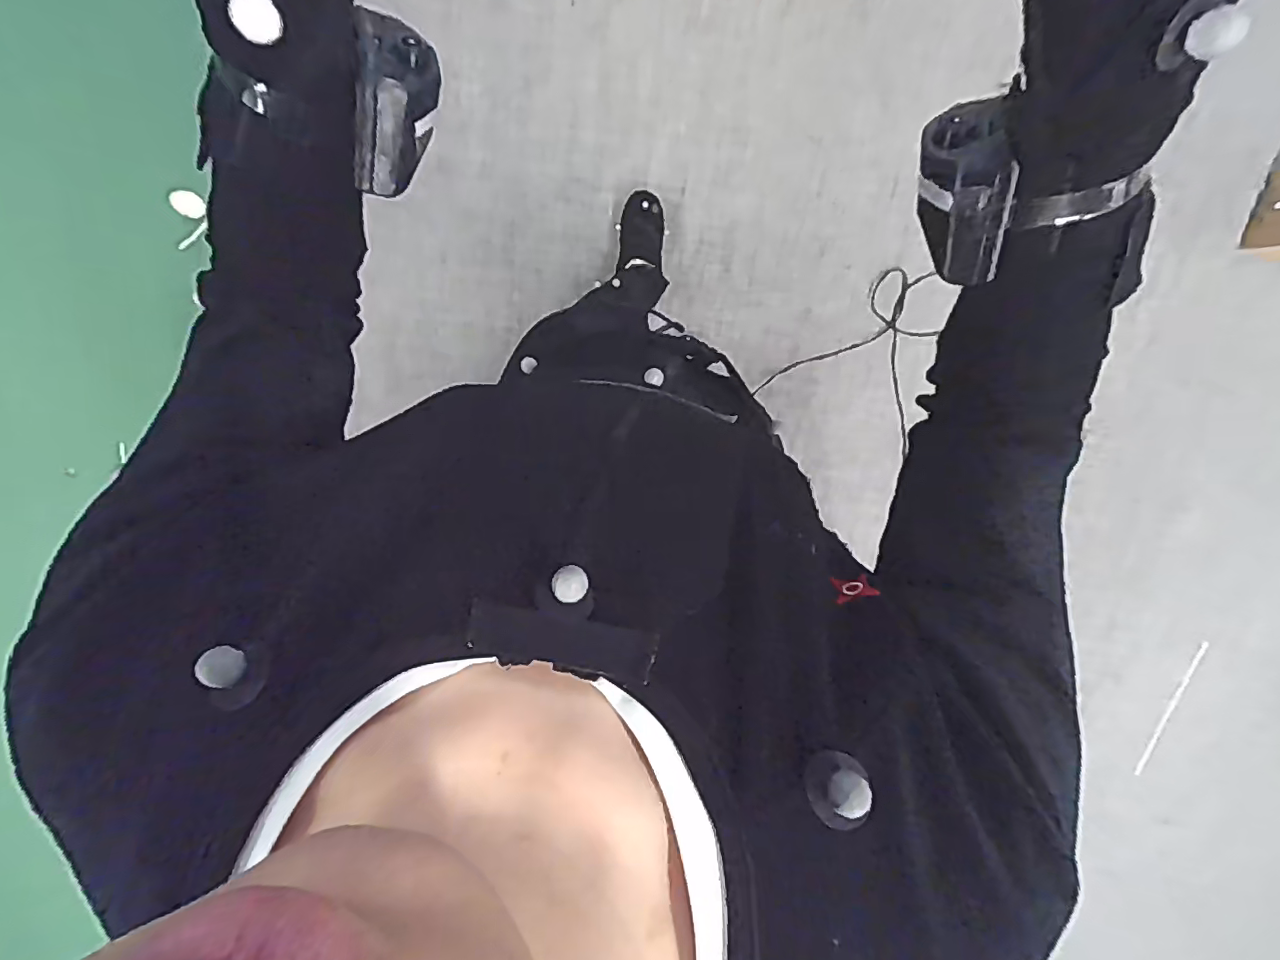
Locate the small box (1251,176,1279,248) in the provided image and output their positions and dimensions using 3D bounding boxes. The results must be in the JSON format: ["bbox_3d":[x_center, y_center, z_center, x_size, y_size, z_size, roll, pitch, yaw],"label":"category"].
[{"bbox_3d":[1.436,-0.562,1.092,0.179,0.176,0.168,10,108,2],"label":"small box"}]
